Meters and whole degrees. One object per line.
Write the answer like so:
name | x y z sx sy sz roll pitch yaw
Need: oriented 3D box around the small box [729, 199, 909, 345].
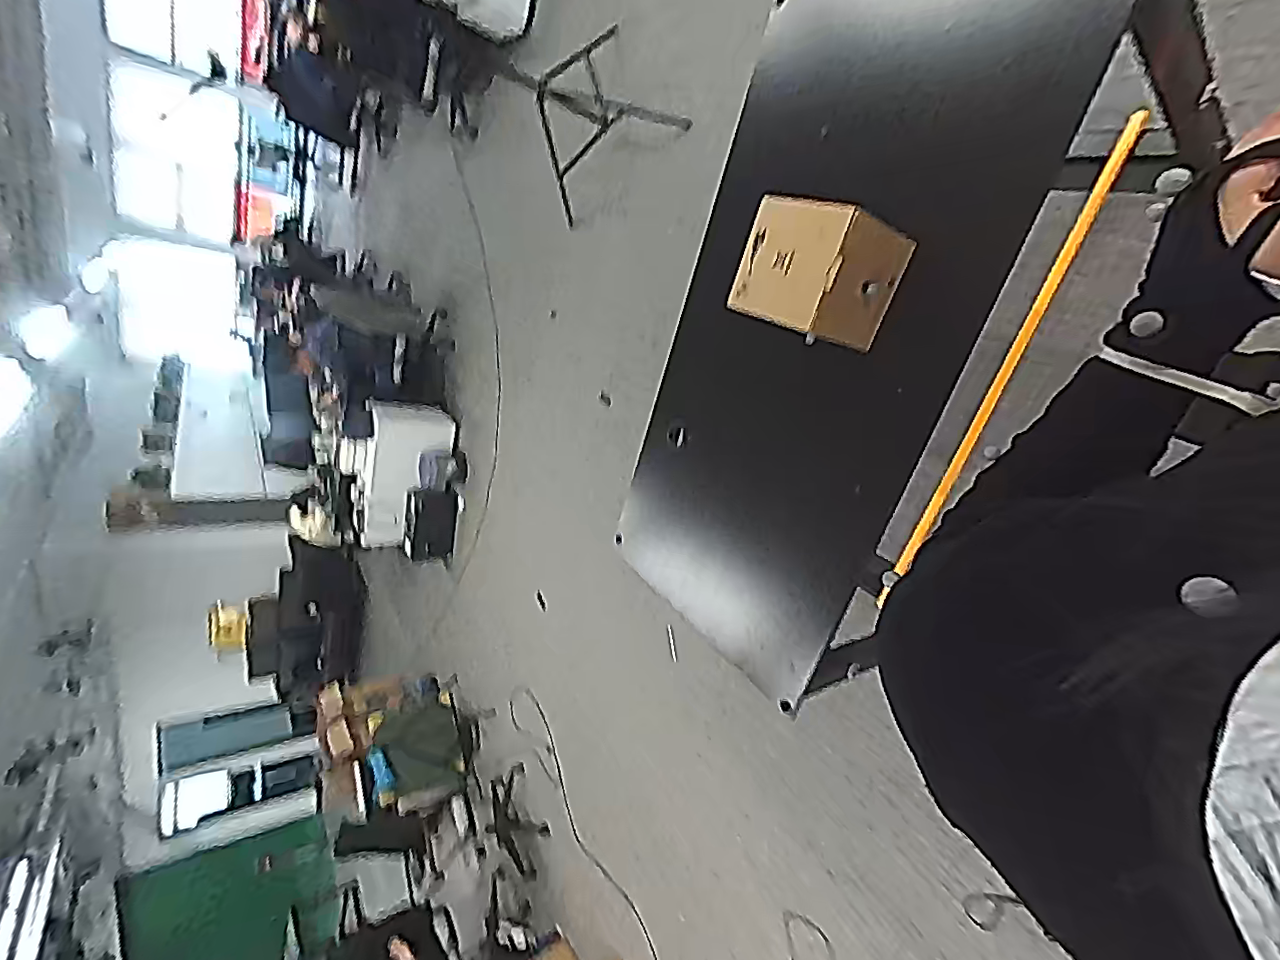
small box | 0.277 -0.316 0.840 0.179 0.176 0.168 39 120 44
